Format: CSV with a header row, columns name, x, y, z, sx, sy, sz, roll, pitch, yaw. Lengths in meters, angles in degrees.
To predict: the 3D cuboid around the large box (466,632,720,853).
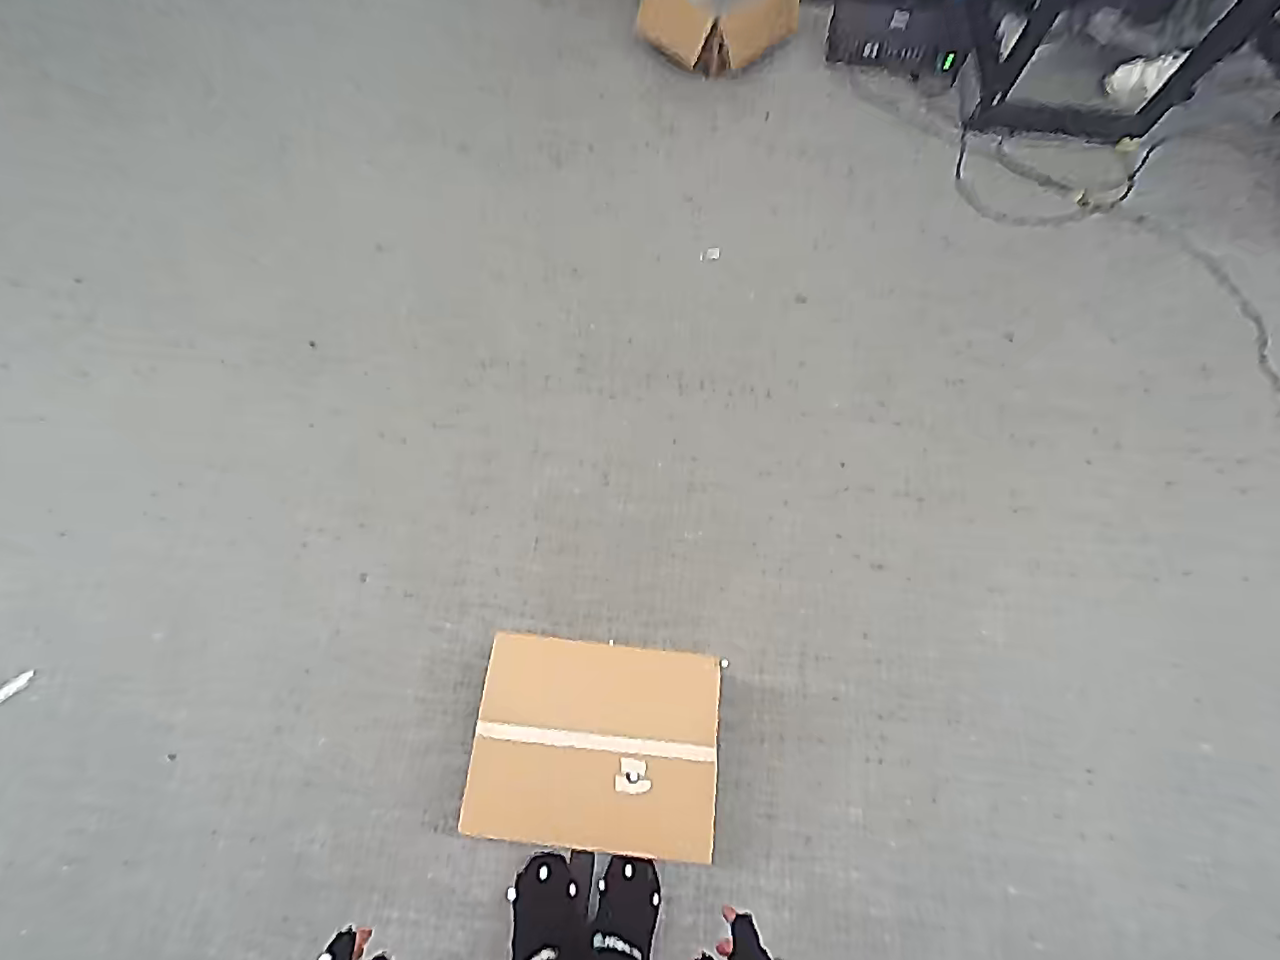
name,x,y,z,sx,sy,sz,roll,pitch,yaw
large box,-0.075,0.488,1.050,0.408,0.320,0.320,6,69,0
